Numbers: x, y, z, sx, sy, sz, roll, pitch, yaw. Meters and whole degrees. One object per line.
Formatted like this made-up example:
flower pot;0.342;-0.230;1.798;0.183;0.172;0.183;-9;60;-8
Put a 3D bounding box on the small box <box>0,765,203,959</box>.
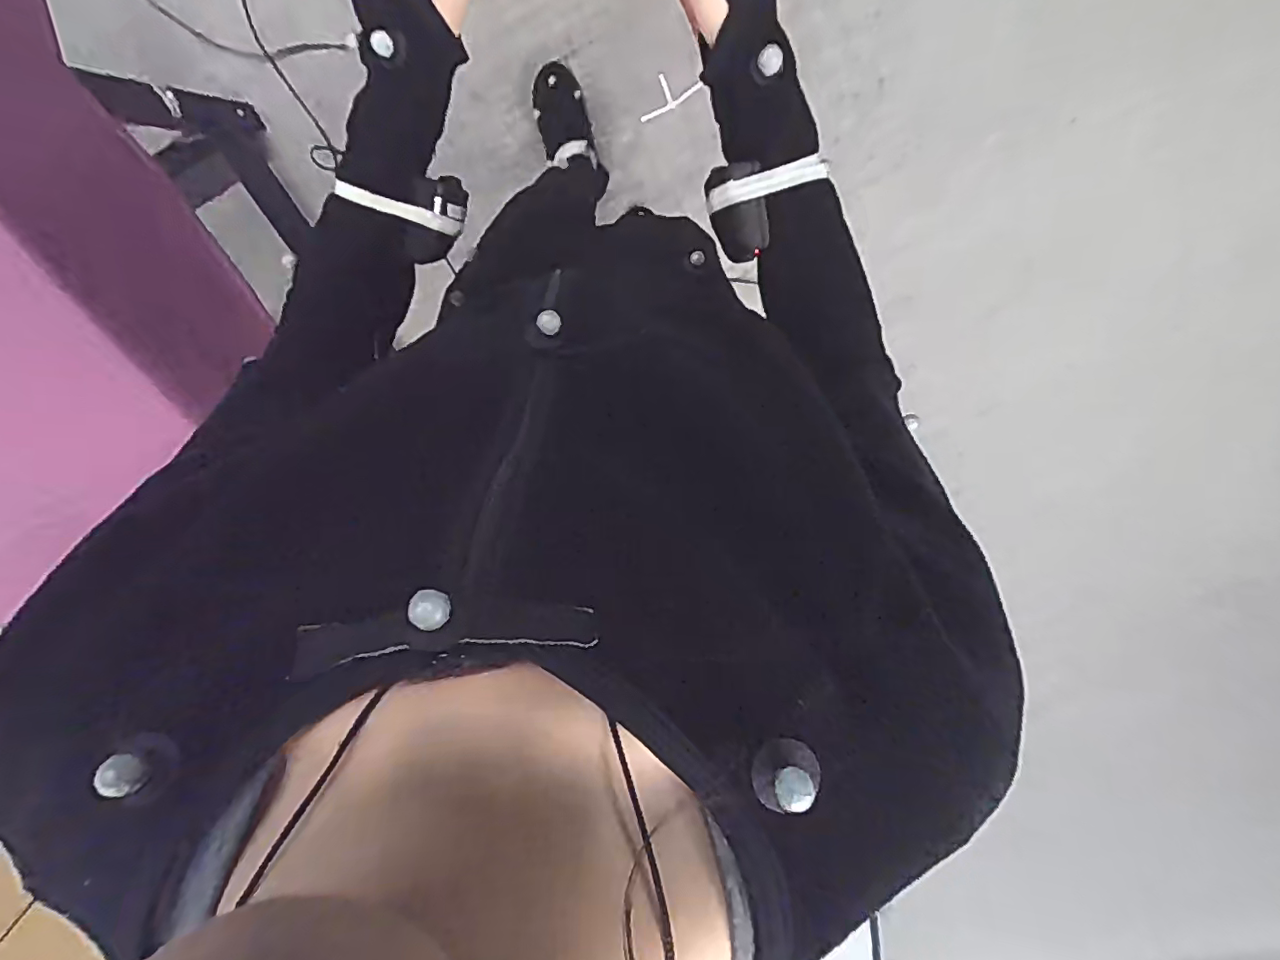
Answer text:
small box;-0.631;0.444;0.581;0.179;0.176;0.168;-32;113;18
